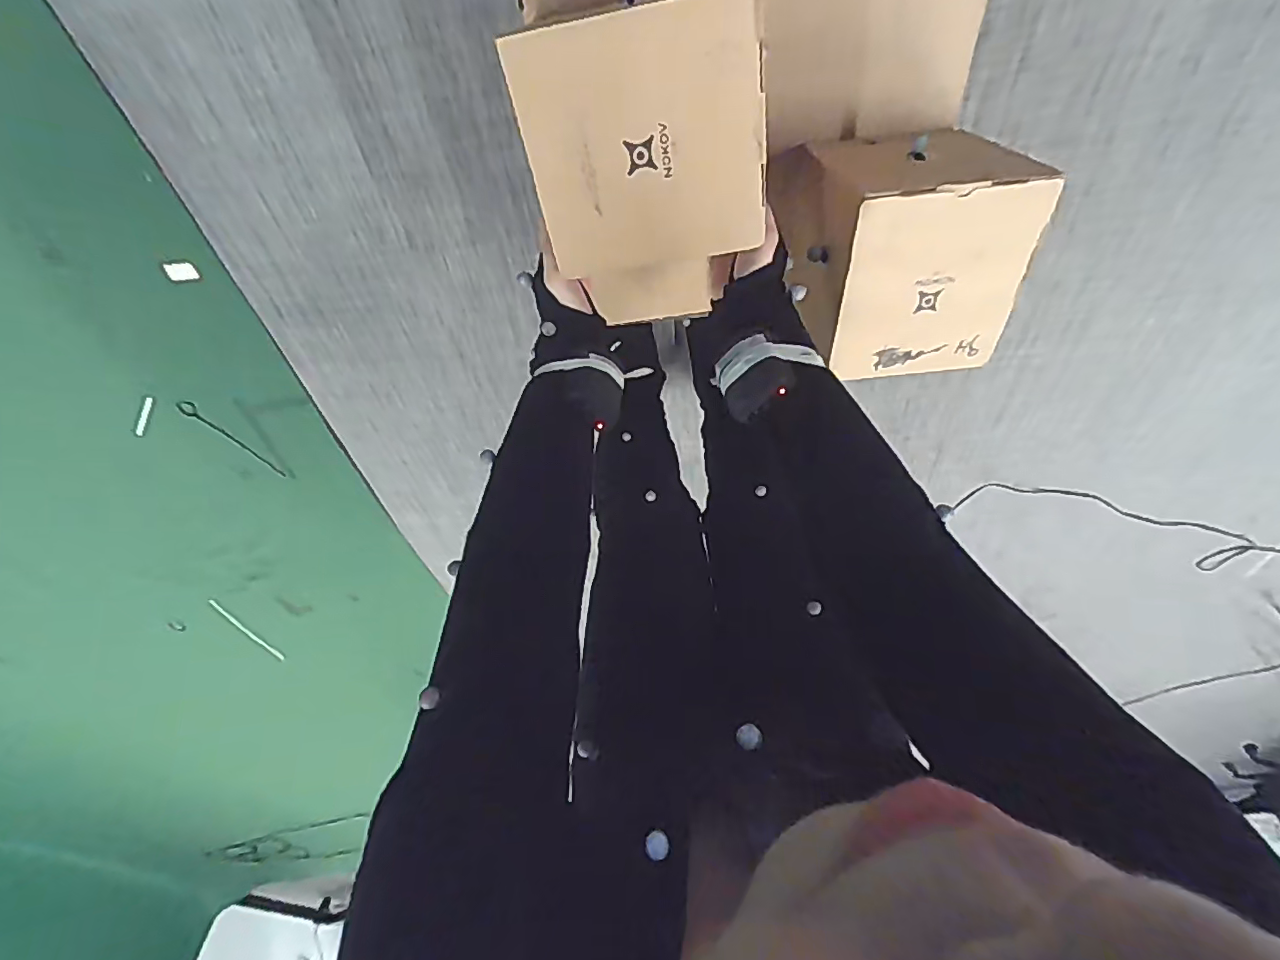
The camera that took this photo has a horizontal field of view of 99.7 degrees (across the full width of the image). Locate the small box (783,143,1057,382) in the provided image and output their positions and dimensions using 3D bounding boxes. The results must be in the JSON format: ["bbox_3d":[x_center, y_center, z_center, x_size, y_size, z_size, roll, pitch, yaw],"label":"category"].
[{"bbox_3d":[0.252,-0.223,0.543,0.168,0.176,0.179,-5,133,0],"label":"small box"}]

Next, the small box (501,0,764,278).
[{"bbox_3d":[0.001,-0.296,0.459,0.179,0.176,0.168,-7,132,5],"label":"small box"}]
